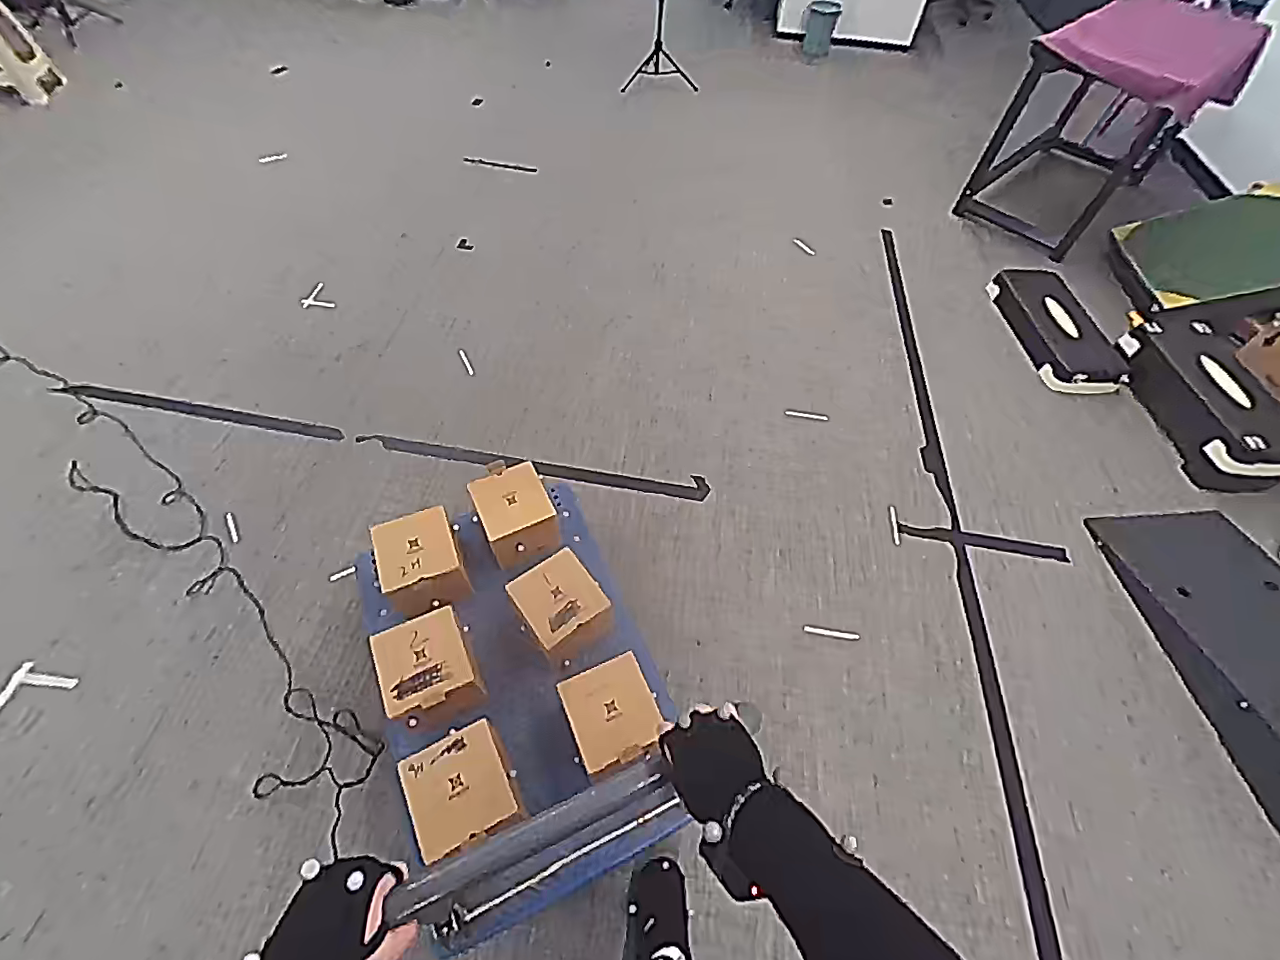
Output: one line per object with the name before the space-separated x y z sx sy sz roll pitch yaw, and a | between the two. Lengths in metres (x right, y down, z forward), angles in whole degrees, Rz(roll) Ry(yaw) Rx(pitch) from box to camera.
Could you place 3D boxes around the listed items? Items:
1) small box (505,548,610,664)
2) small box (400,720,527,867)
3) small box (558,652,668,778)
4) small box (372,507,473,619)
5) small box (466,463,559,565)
small box | -0.180 0.294 1.226 0.168 0.176 0.179 -31 62 -22
small box | -0.323 0.586 1.016 0.168 0.176 0.179 -23 60 -19
small box | -0.057 0.486 1.105 0.168 0.176 0.179 -19 59 -17
small box | -0.506 0.197 1.269 0.168 0.176 0.179 -19 60 -15
small box | -0.313 0.093 1.354 0.168 0.176 0.179 -23 60 -18
